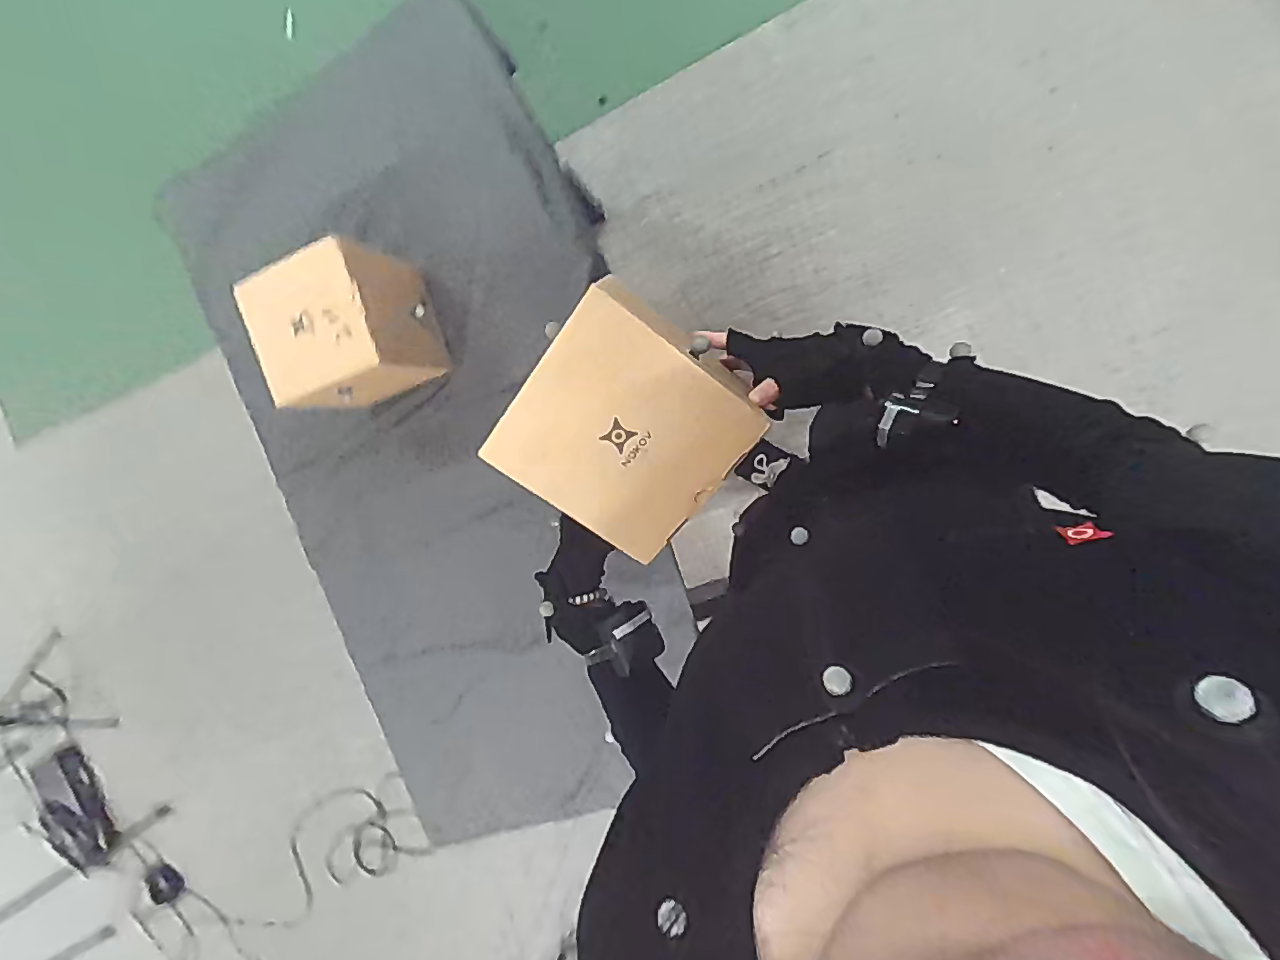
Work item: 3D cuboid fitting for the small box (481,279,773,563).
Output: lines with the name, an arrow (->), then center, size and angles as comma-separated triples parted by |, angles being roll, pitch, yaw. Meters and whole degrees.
small box -> -0.012, -0.063, 0.500 | 0.179, 0.176, 0.168 | 36, 108, -14

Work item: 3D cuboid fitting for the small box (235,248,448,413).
small box -> -0.412, -0.197, 0.769 | 0.179, 0.176, 0.168 | -17, 94, 14
